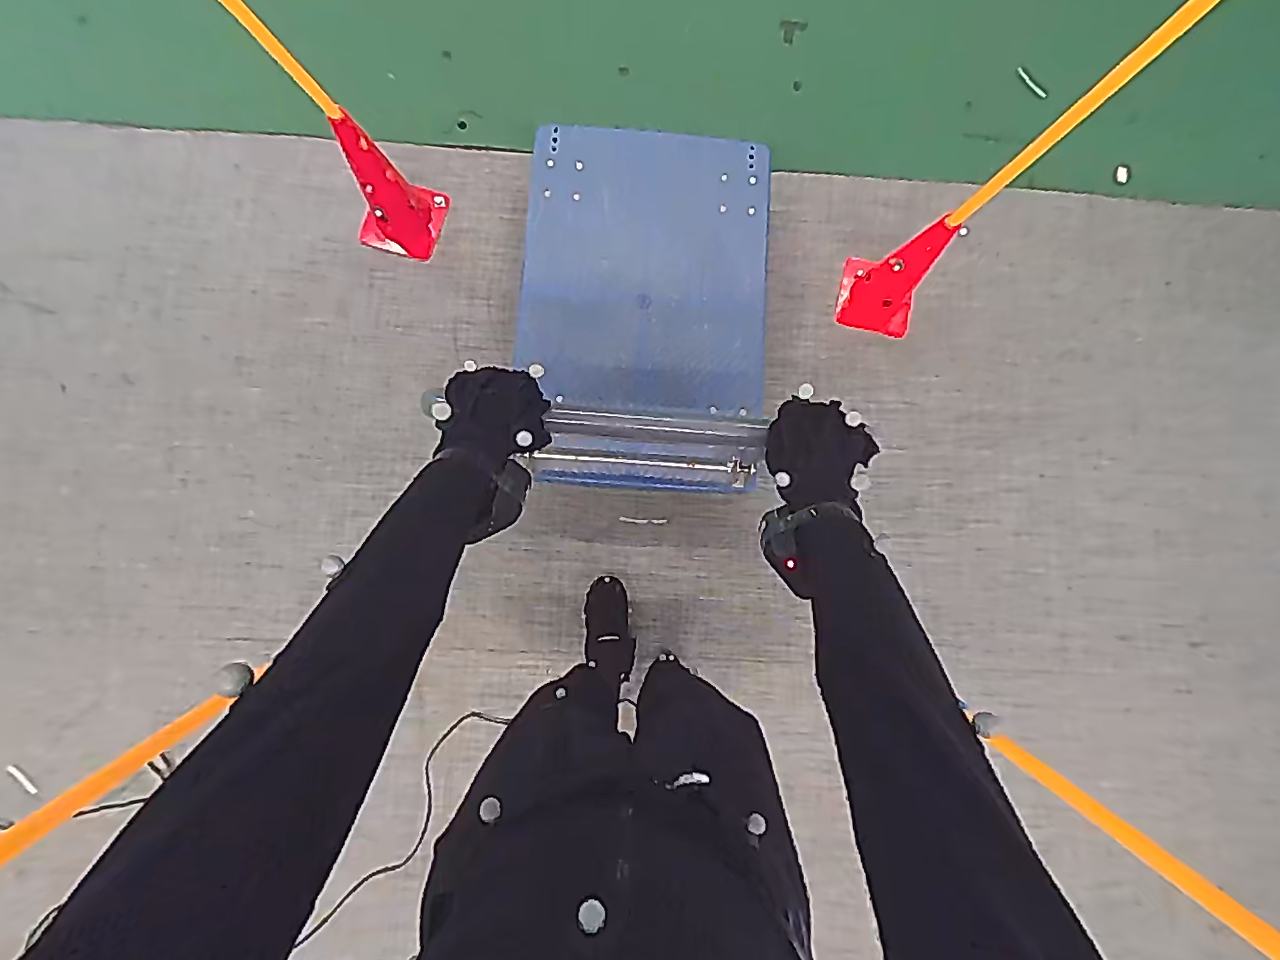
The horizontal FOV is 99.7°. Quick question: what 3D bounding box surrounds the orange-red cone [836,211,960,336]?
[{"bbox_3d":[0.650,-0.523,1.307,0.198,0.360,0.199,14,83,0],"label":"orange-red cone"}]
